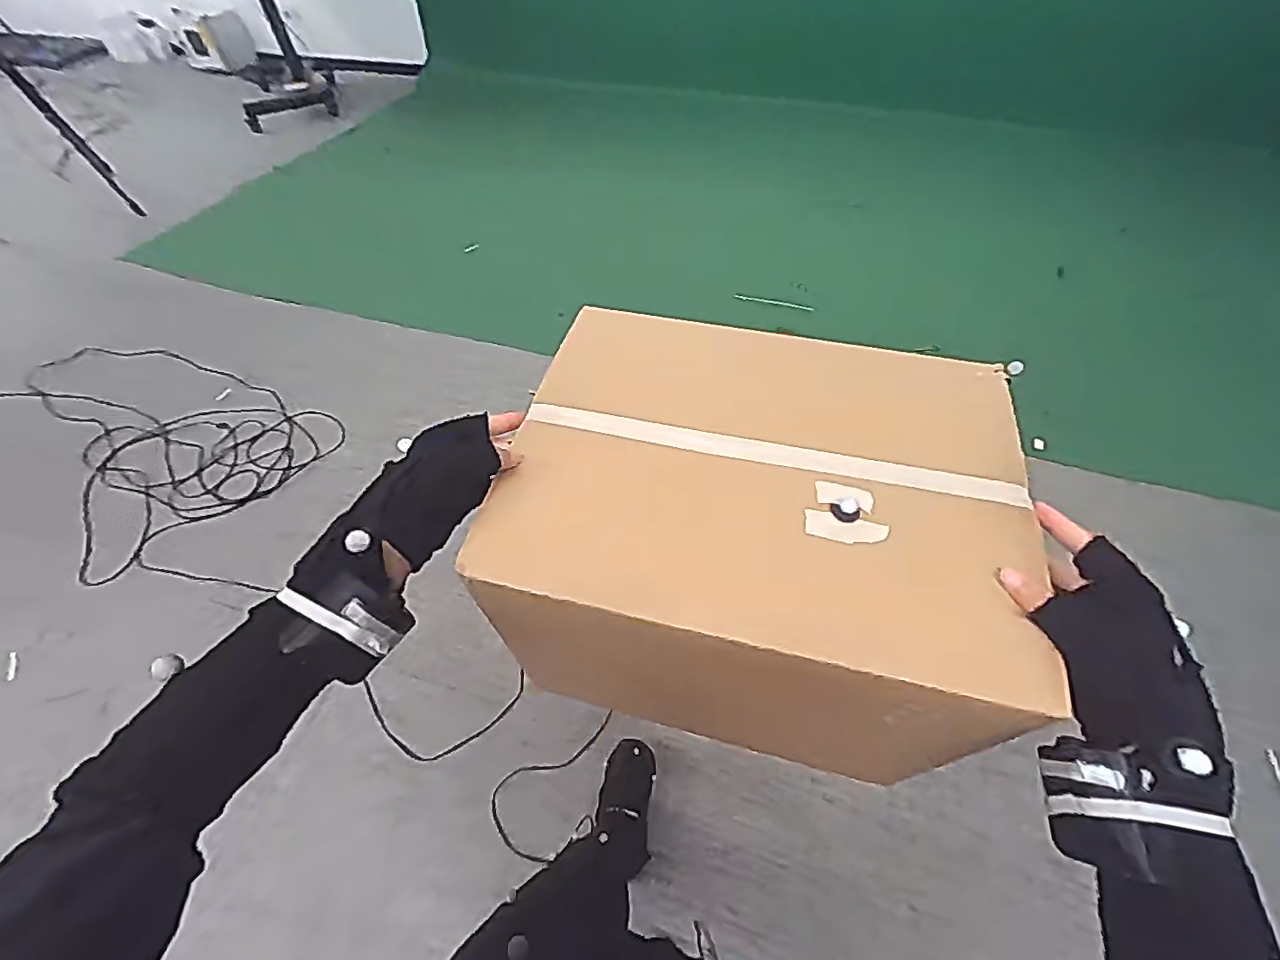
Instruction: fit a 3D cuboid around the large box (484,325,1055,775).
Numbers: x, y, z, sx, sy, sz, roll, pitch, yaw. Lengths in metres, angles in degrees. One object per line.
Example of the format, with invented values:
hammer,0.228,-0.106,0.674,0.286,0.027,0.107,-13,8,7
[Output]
large box,0.108,0.077,0.577,0.408,0.320,0.320,11,55,9
